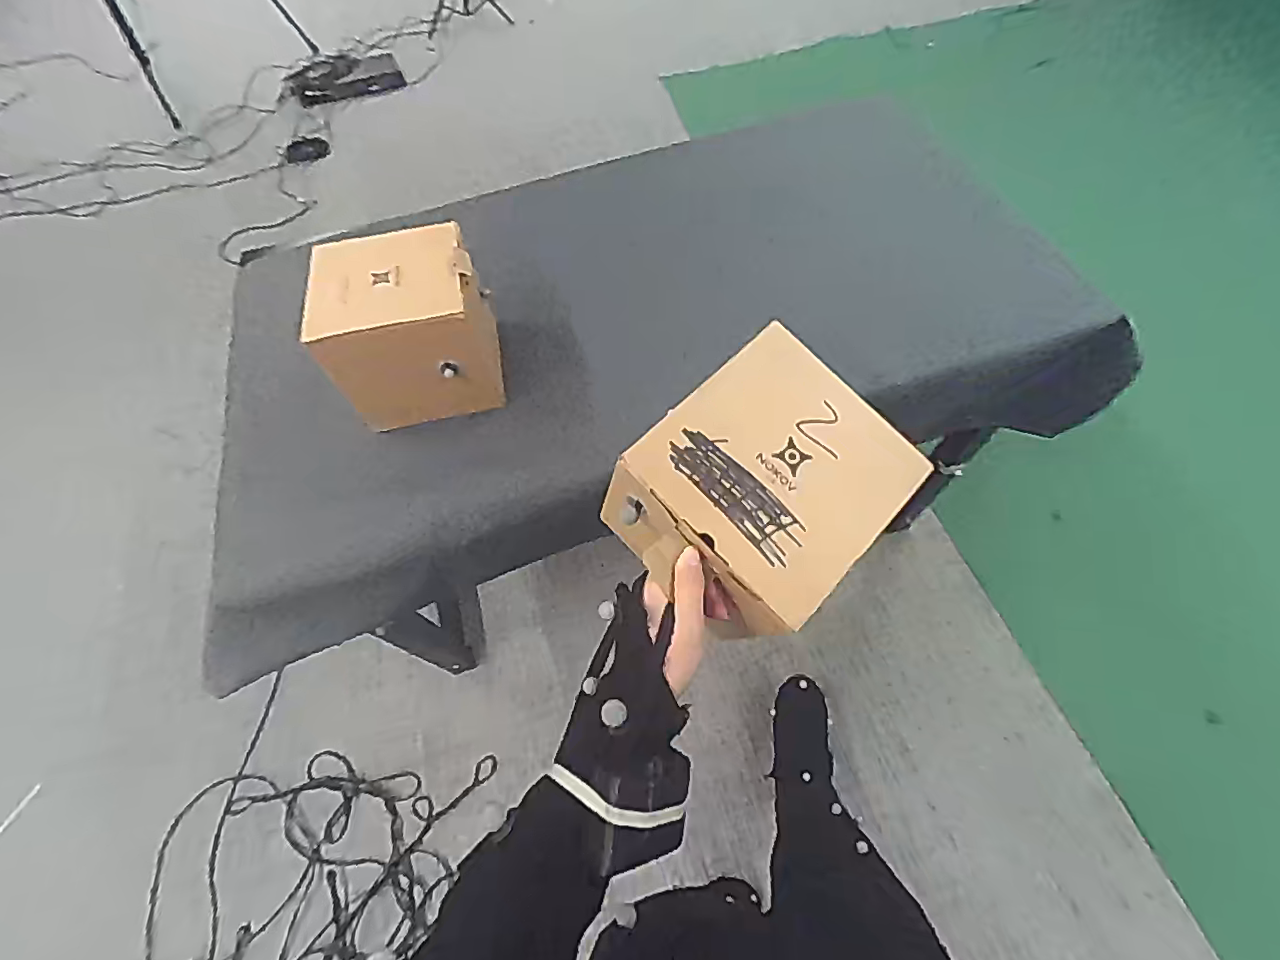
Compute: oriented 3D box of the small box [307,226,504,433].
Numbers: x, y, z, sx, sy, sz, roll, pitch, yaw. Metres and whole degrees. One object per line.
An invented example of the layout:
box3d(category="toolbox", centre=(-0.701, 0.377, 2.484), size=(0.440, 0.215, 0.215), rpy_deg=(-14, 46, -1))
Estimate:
box3d(category="small box", centre=(-0.278, -0.182, 0.682), size=(0.179, 0.176, 0.168), rpy_deg=(-13, 59, -3))
